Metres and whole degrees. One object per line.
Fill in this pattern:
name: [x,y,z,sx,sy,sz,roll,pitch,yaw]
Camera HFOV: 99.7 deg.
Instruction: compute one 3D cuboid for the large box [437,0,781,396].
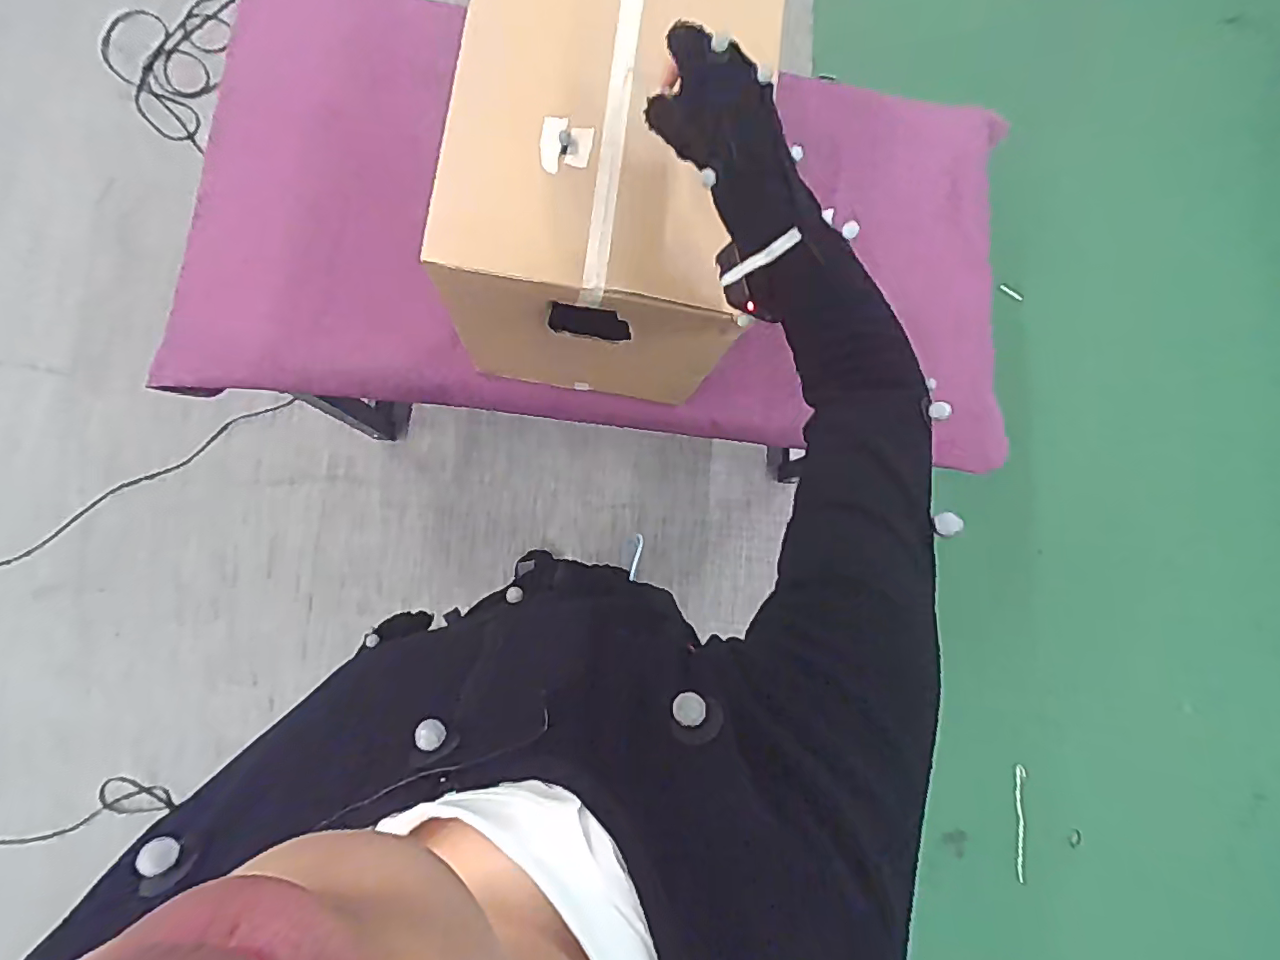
large box: [-0.040,-0.359,0.690,0.320,0.320,0.408,8,83,-7]
